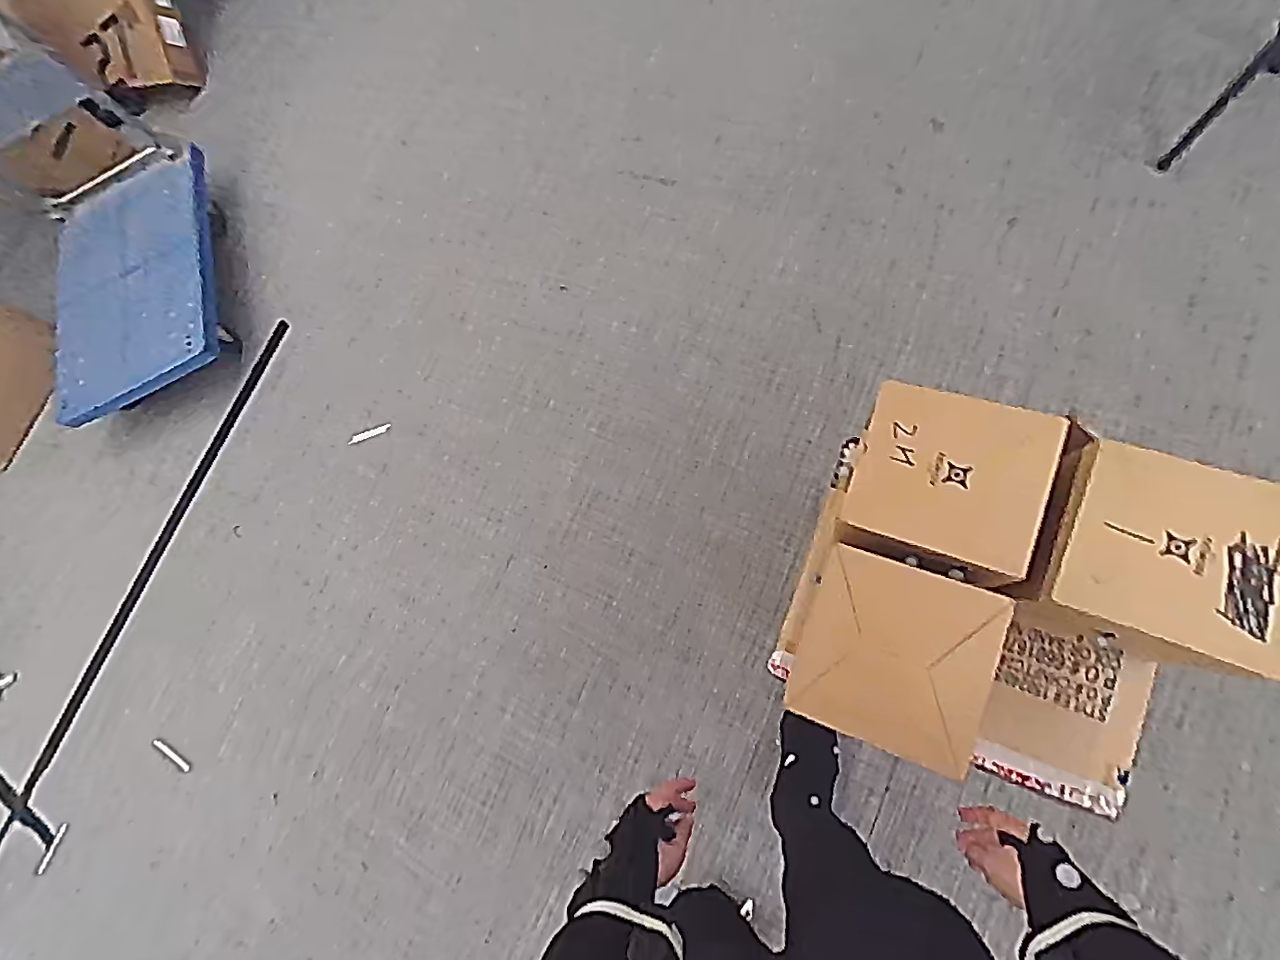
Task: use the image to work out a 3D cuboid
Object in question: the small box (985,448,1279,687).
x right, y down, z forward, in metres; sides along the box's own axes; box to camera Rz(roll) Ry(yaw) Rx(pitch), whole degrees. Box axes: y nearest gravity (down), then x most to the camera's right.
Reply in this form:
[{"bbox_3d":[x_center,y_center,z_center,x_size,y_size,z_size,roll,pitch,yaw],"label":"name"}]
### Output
[{"bbox_3d":[0.500,0.086,0.558,0.179,0.176,0.168,20,84,18],"label":"small box"}]
